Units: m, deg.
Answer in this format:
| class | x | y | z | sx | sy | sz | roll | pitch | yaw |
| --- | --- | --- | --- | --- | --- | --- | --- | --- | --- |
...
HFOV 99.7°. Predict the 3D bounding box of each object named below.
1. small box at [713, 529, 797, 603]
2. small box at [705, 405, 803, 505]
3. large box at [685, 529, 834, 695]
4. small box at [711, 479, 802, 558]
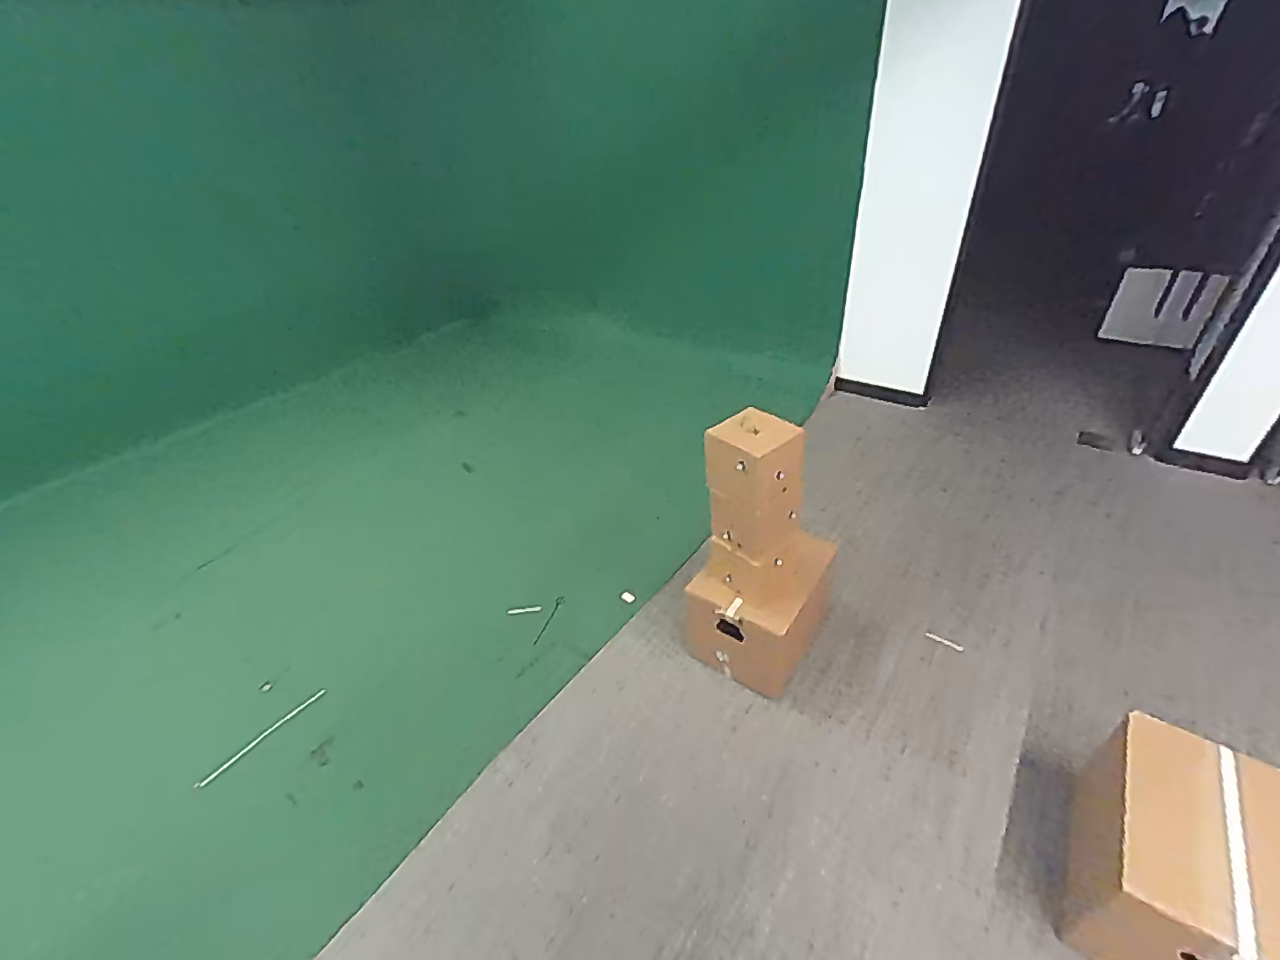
| class | x | y | z | sx | sy | sz | roll | pitch | yaw |
| --- | --- | --- | --- | --- | --- | --- | --- | --- | --- |
| small box | 0.321 | 0.210 | 1.535 | 0.179 | 0.176 | 0.168 | -32 | 43 | -30 |
| small box | 0.282 | -0.058 | 1.351 | 0.168 | 0.176 | 0.179 | -29 | 41 | -27 |
| large box | 0.378 | 0.379 | 1.707 | 0.320 | 0.320 | 0.408 | 21 | 43 | 31 |
| small box | 0.308 | 0.074 | 1.446 | 0.179 | 0.176 | 0.168 | -30 | 42 | -27 |
